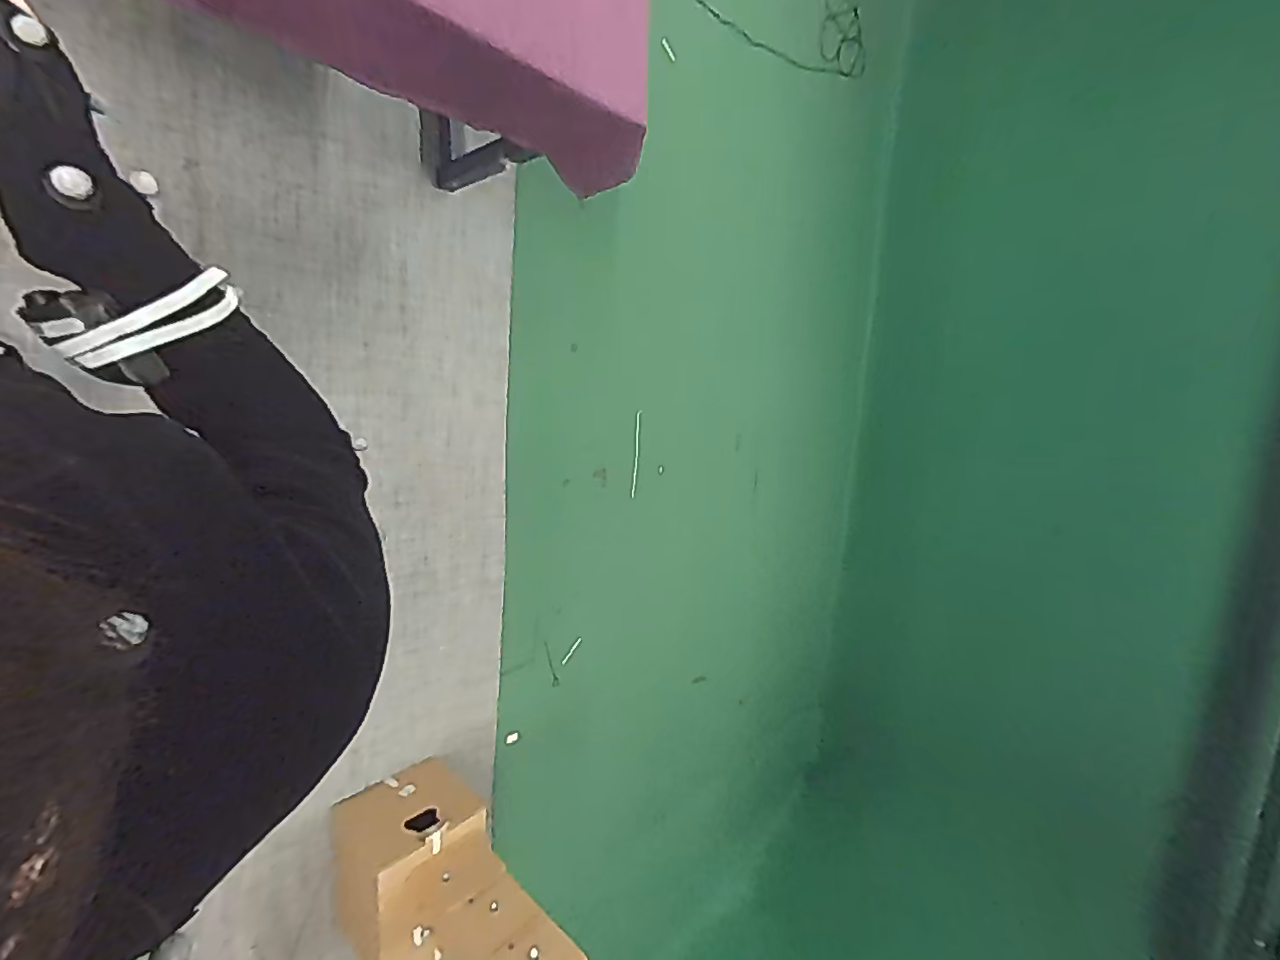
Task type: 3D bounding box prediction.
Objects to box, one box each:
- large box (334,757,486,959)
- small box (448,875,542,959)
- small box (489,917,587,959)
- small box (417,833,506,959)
[{"bbox_3d":[-0.676,1.132,1.597,0.320,0.320,0.408,-8,105,-48],"label":"large box"},{"bbox_3d":[-0.357,1.129,1.336,0.168,0.176,0.179,-15,111,-46],"label":"small box"},{"bbox_3d":[-0.235,1.153,1.228,0.168,0.176,0.179,-12,107,-47],"label":"small box"},{"bbox_3d":[-0.479,1.098,1.439,0.179,0.176,0.168,-10,106,-49],"label":"small box"}]
